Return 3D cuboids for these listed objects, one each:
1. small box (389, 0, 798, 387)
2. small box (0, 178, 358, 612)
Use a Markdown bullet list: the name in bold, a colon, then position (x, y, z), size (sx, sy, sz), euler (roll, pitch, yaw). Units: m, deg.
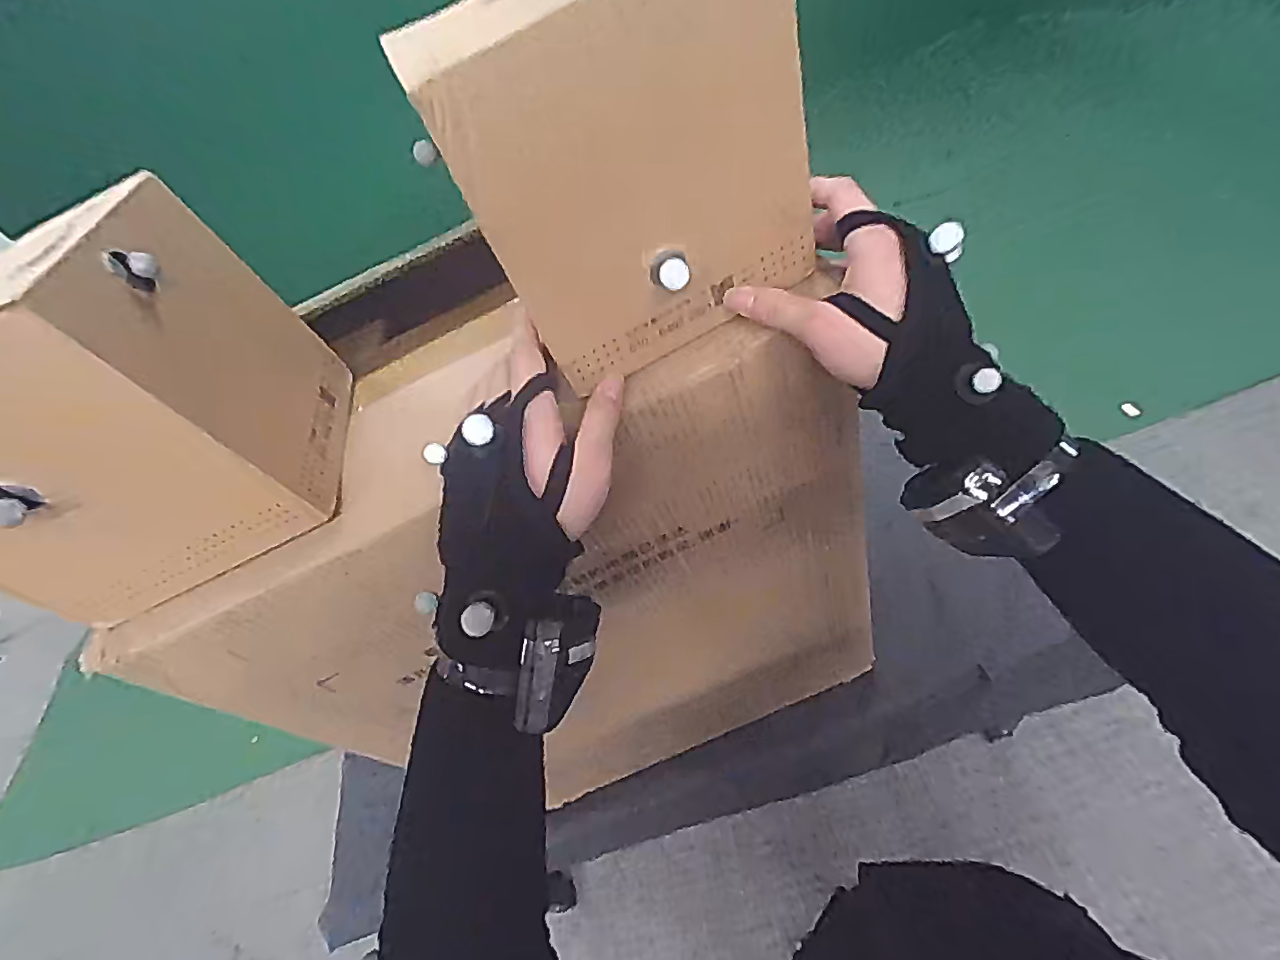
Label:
- **small box**: position (-0.024, -0.189, 0.327), size (0.168, 0.176, 0.179), euler (-29, 48, -1)
- **small box**: position (-0.316, -0.043, 0.341), size (0.179, 0.176, 0.168), euler (-26, 49, 5)
